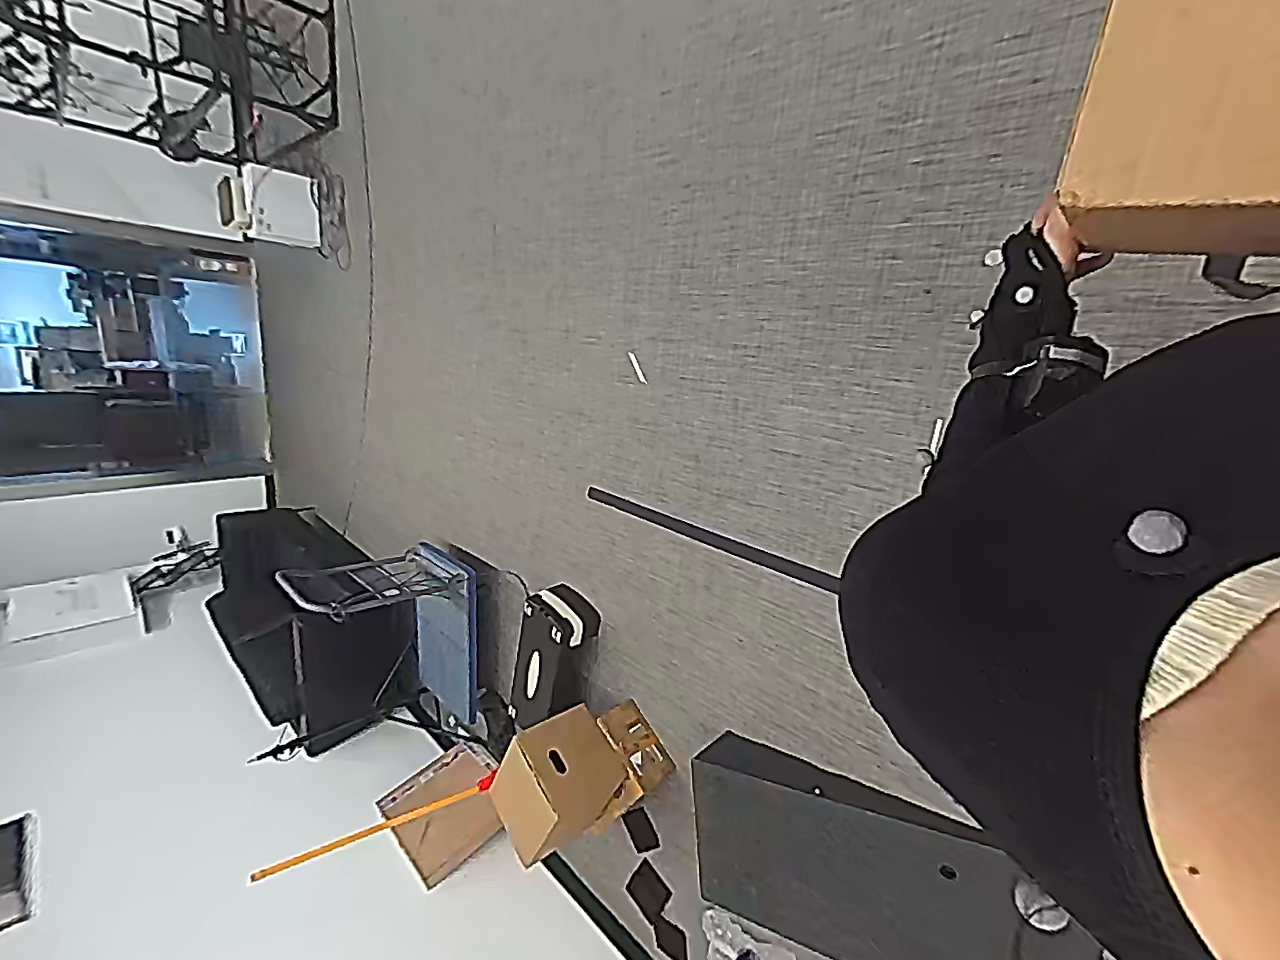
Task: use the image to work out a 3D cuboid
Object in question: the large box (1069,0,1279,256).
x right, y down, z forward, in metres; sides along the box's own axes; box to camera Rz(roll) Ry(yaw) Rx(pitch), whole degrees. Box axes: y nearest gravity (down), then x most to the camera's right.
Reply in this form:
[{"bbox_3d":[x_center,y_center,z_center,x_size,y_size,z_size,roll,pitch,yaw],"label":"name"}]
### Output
[{"bbox_3d":[0.461,-0.268,0.215,0.408,0.320,0.320,18,116,35],"label":"large box"}]
